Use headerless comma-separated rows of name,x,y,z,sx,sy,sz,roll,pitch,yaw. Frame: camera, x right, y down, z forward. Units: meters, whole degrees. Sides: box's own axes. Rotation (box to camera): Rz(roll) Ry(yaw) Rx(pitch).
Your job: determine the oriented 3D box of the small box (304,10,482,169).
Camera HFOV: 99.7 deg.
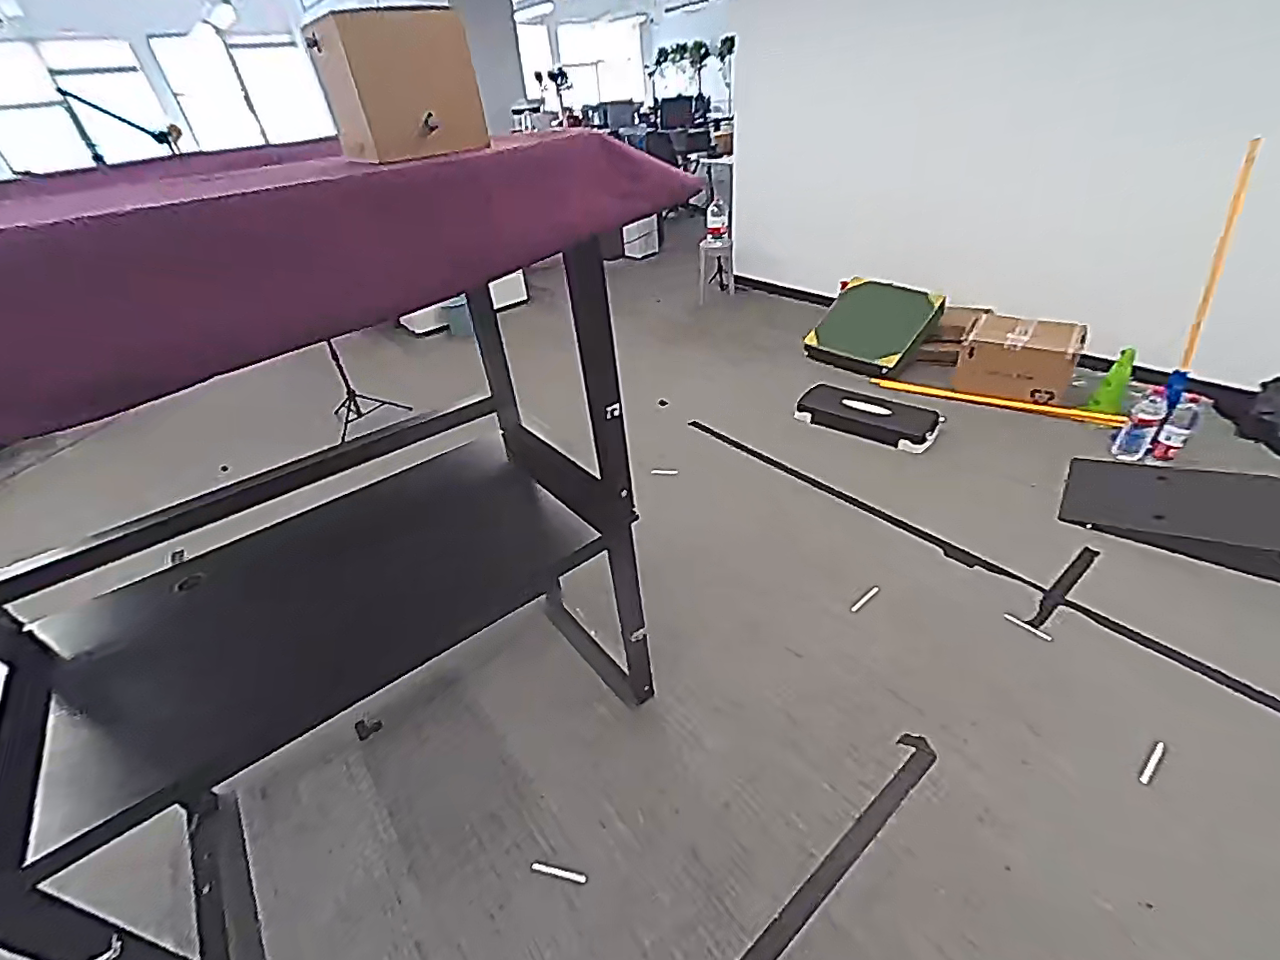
small box,-0.352,-0.569,0.797,0.179,0.176,0.168,-30,41,-29
